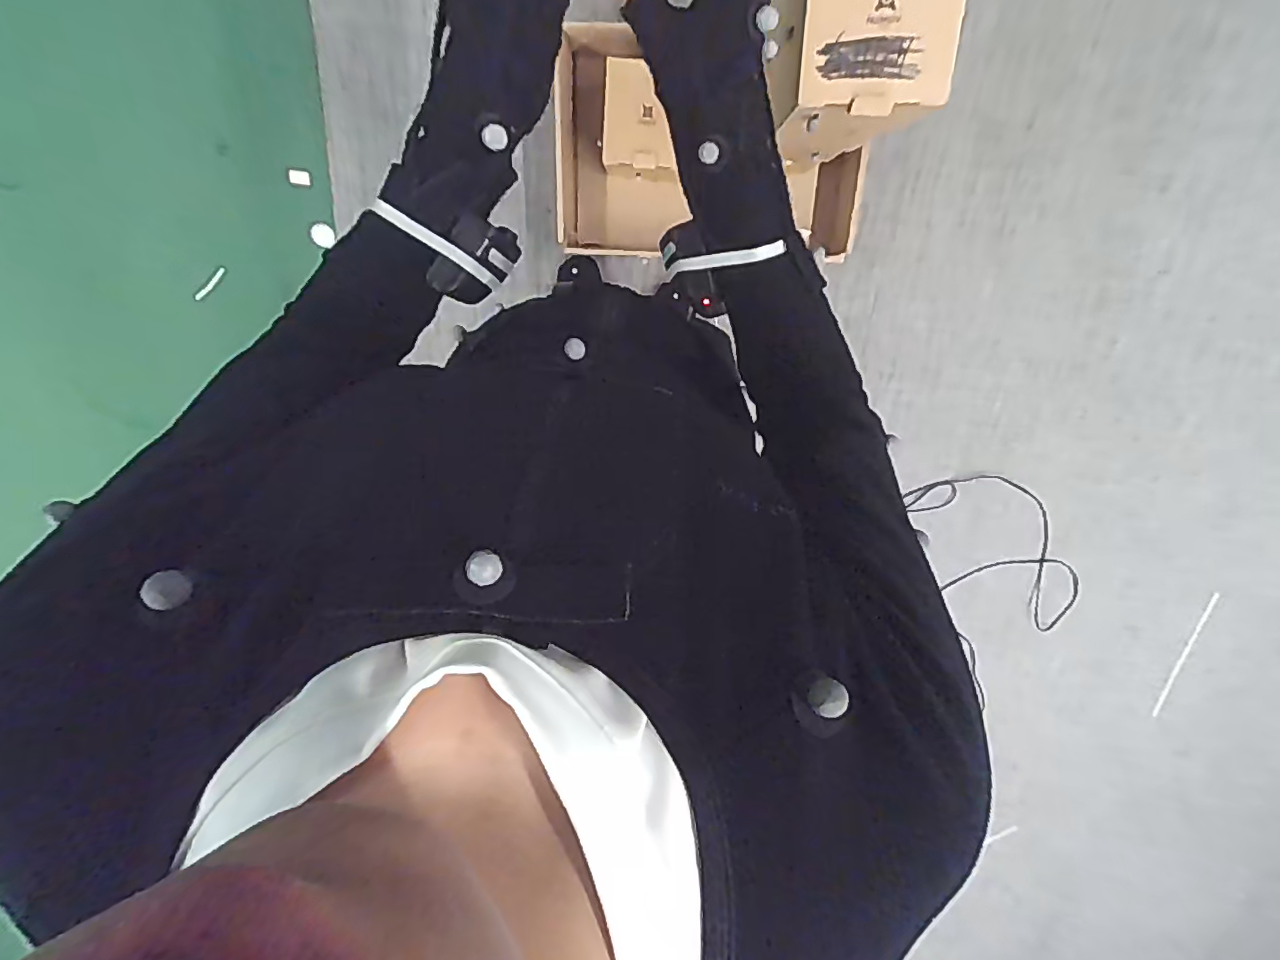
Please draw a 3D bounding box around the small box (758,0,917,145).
[{"bbox_3d":[0.273,-0.602,0.784,0.168,0.176,0.179,4,113,1],"label":"small box"}]

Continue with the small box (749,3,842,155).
[{"bbox_3d":[0.282,-0.665,0.916,0.168,0.176,0.179,3,113,2],"label":"small box"}]

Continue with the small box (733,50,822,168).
[{"bbox_3d":[0.277,-0.734,1.084,0.168,0.176,0.179,0,112,4],"label":"small box"}]
